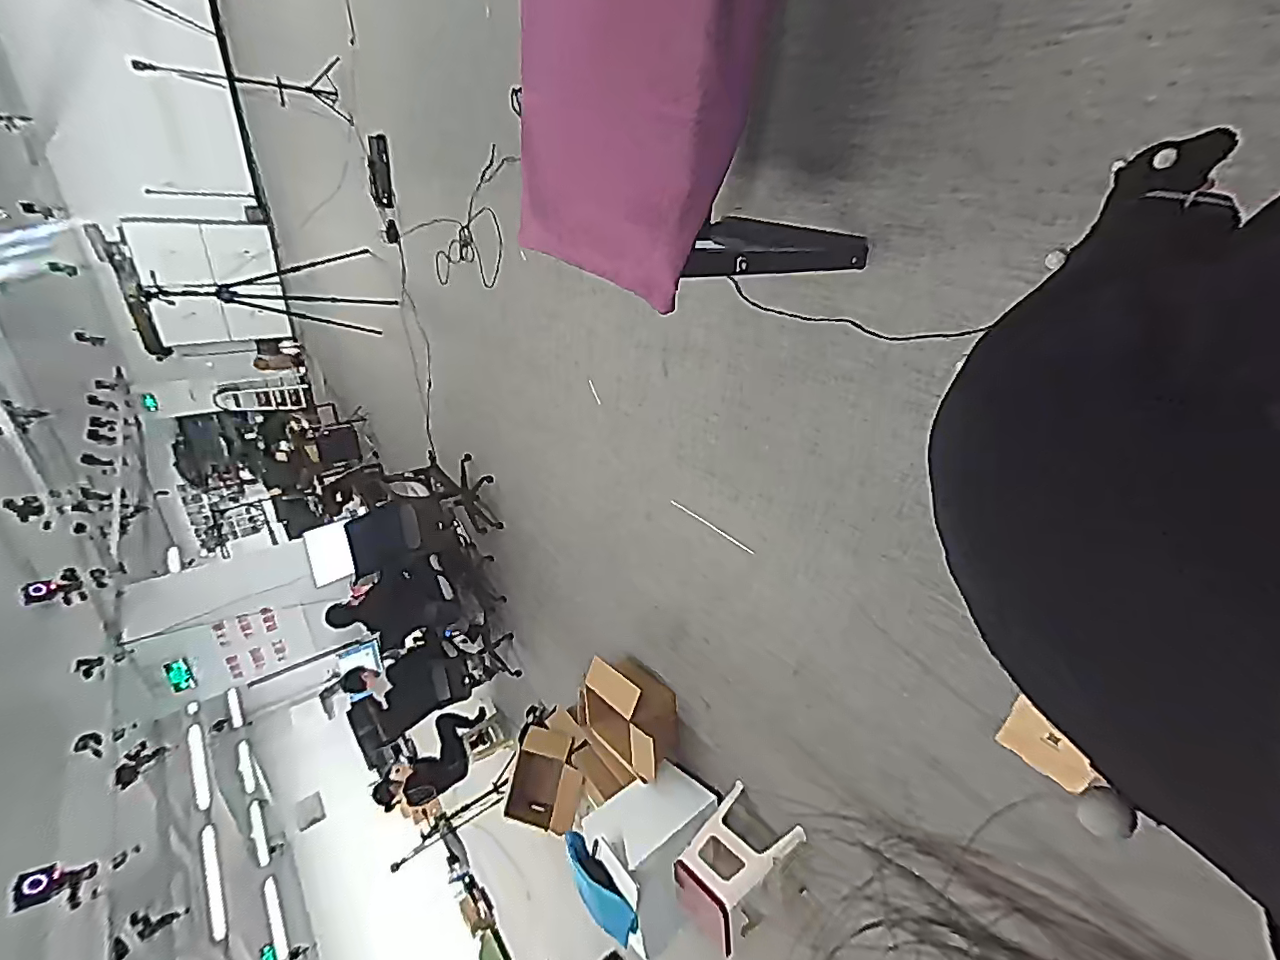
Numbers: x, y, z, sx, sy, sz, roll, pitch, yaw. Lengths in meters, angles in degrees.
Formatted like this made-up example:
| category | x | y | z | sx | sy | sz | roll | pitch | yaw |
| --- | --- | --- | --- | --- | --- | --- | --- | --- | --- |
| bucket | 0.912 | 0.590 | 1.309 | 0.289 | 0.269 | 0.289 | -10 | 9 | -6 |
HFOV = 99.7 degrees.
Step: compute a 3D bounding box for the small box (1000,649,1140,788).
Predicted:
| category | x | y | z | sx | sy | sz | roll | pitch | yaw |
| --- | --- | --- | --- | --- | --- | --- | --- | --- | --- |
| small box | 0.923 | 0.503 | 1.161 | 0.168 | 0.176 | 0.179 | 34 | 131 | 41 |
